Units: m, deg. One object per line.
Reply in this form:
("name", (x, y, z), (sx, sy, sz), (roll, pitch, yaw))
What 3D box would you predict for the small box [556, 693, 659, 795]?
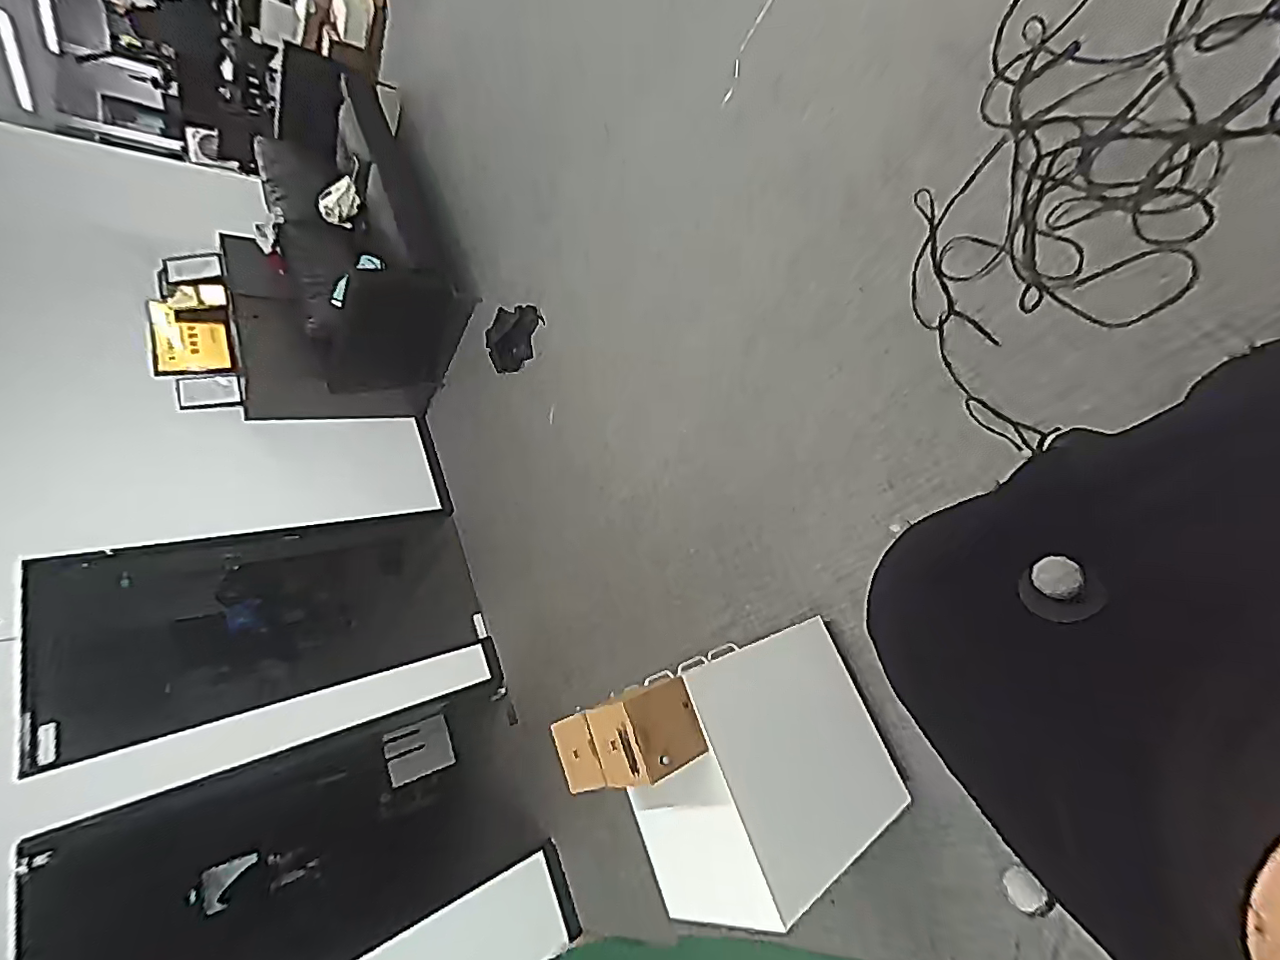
("small box", (-0.075, 0.638, 1.317), (0.179, 0.176, 0.168), (-44, 61, 44))
